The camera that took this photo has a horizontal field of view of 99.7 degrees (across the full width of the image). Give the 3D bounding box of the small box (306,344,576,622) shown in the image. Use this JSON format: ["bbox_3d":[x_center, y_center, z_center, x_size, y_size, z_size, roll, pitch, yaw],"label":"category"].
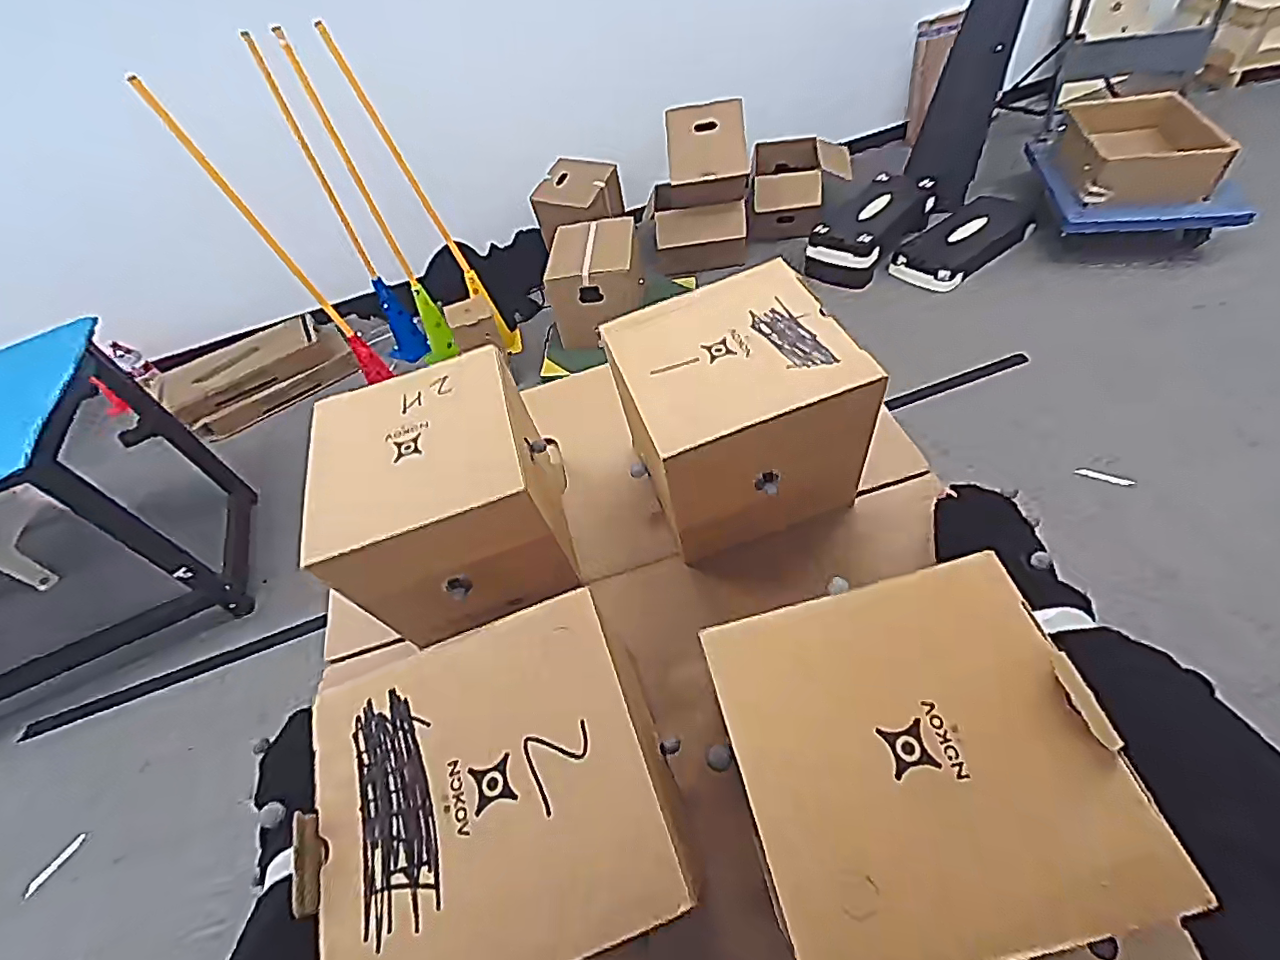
[{"bbox_3d":[-0.169,0.013,0.499,0.168,0.176,0.179,-19,53,-2],"label":"small box"}]

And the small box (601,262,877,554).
[{"bbox_3d":[0.082,-0.060,0.497,0.179,0.176,0.168,-20,53,-2],"label":"small box"}]
